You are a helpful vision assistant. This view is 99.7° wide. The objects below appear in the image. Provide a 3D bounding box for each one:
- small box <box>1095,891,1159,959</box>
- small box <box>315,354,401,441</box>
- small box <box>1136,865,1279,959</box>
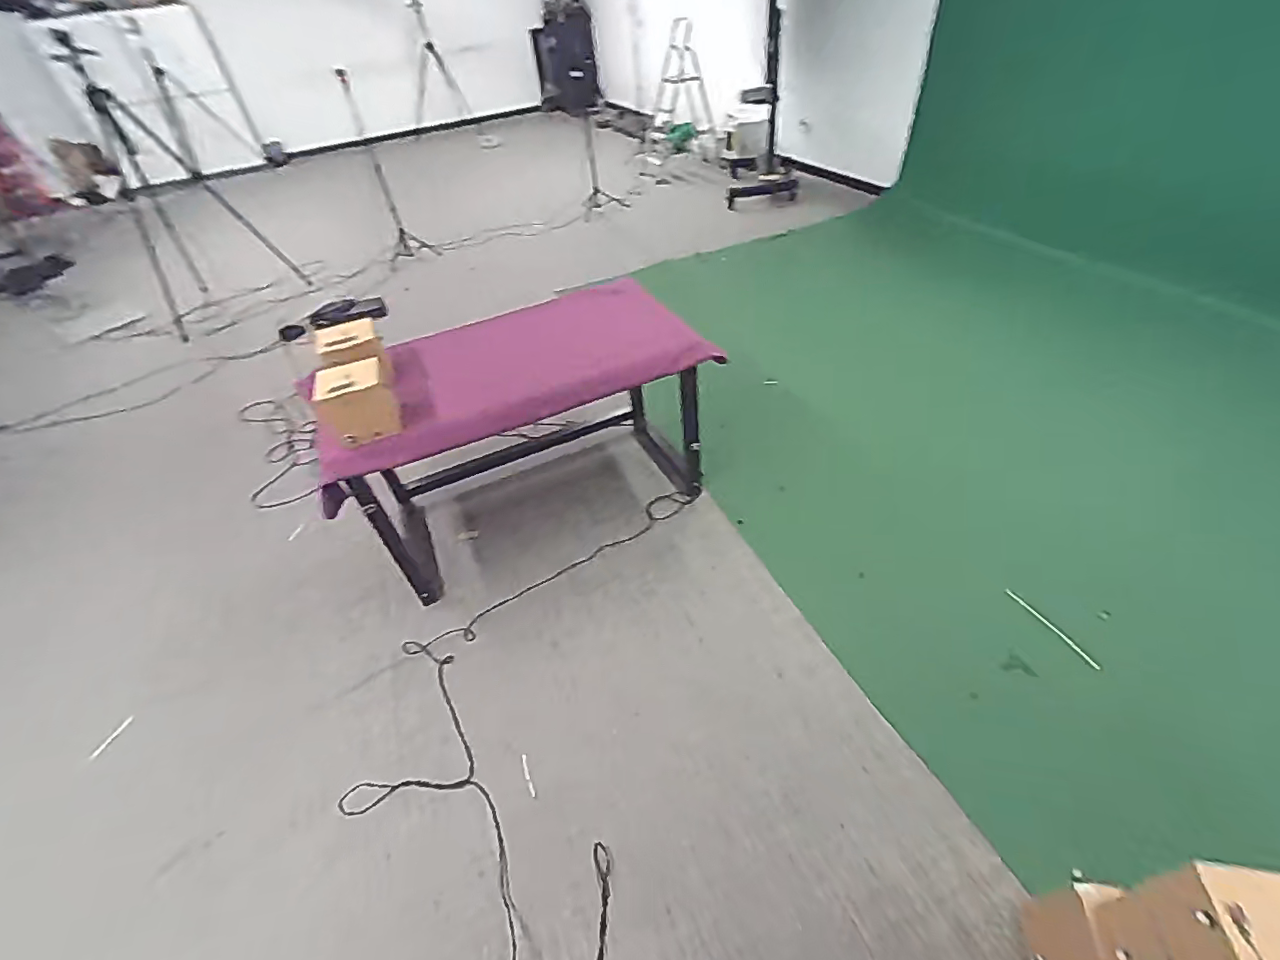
[{"bbox_3d":[0.895,0.787,0.869,0.179,0.176,0.168,3,45,12],"label":"small box"},{"bbox_3d":[-0.797,-0.230,1.542,0.168,0.176,0.179,-19,43,-13],"label":"small box"},{"bbox_3d":[0.869,0.669,0.757,0.179,0.176,0.168,4,45,11],"label":"small box"}]
